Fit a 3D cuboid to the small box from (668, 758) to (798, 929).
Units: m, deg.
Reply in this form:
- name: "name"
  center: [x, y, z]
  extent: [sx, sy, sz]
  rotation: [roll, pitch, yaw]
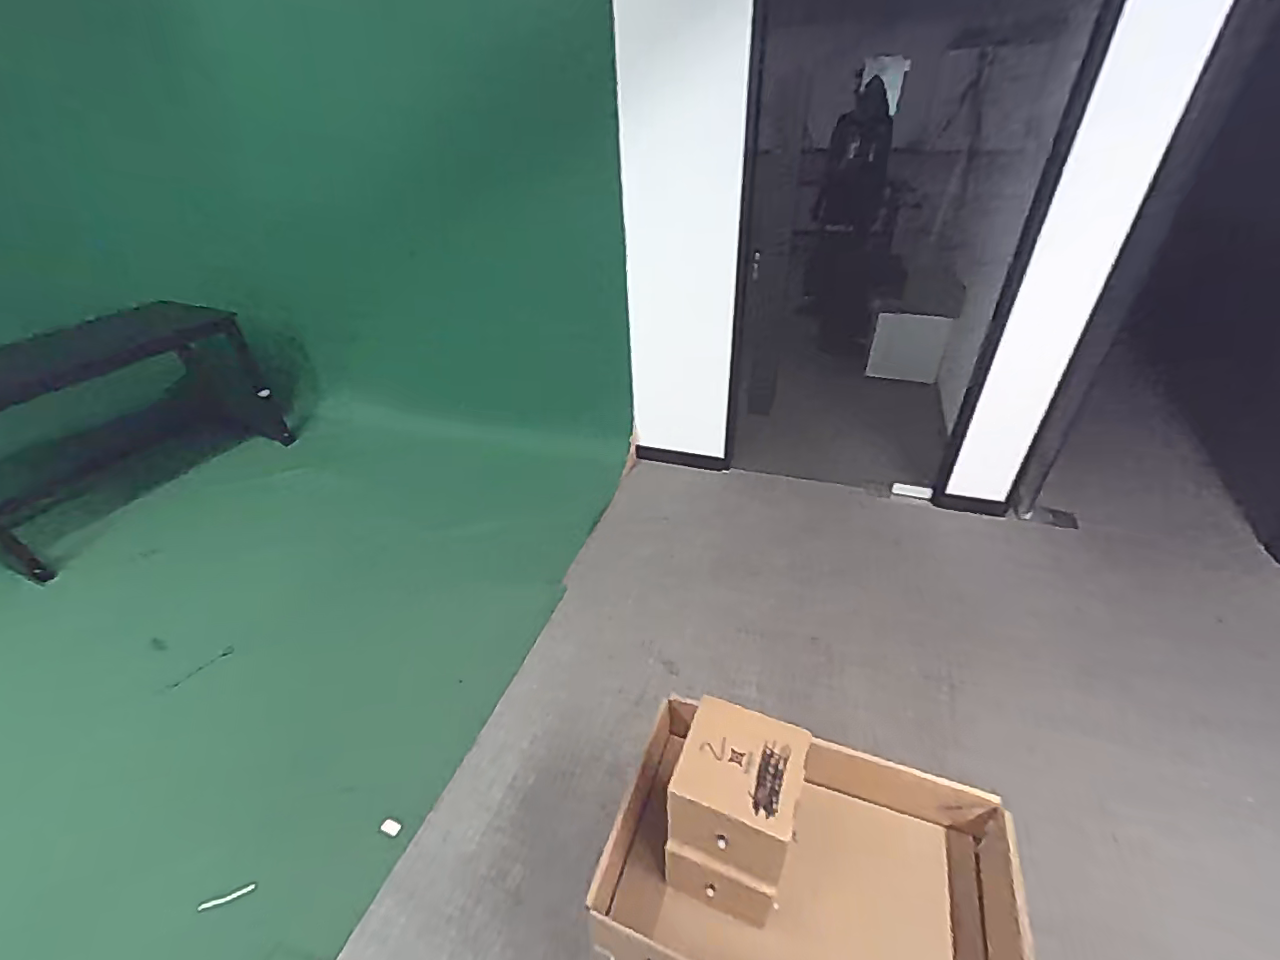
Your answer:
- name: "small box"
  center: [0.157, 0.618, 0.919]
  extent: [0.179, 0.176, 0.168]
  rotation: [12, 38, 20]
